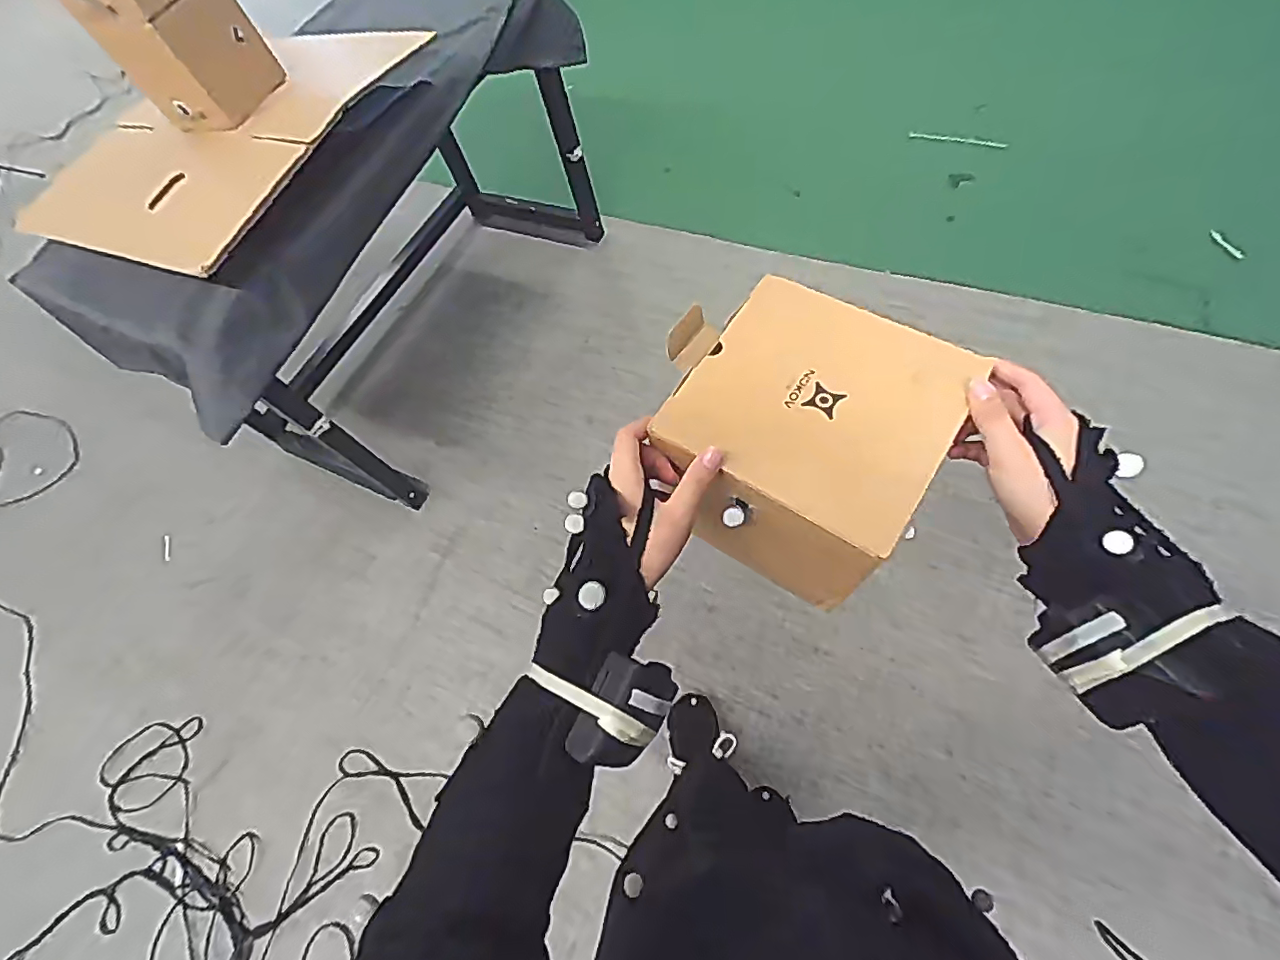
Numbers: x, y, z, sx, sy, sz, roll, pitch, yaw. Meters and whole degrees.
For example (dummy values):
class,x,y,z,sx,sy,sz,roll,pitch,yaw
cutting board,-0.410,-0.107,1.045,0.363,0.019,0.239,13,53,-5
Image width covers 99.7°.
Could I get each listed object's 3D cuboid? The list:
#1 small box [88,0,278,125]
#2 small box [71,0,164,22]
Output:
class,x,y,z,sx,sy,sz,roll,pitch,yaw
small box,-0.809,-0.782,0.983,0.168,0.176,0.179,10,66,18
small box,-0.844,-0.859,0.842,0.168,0.176,0.179,10,66,18
